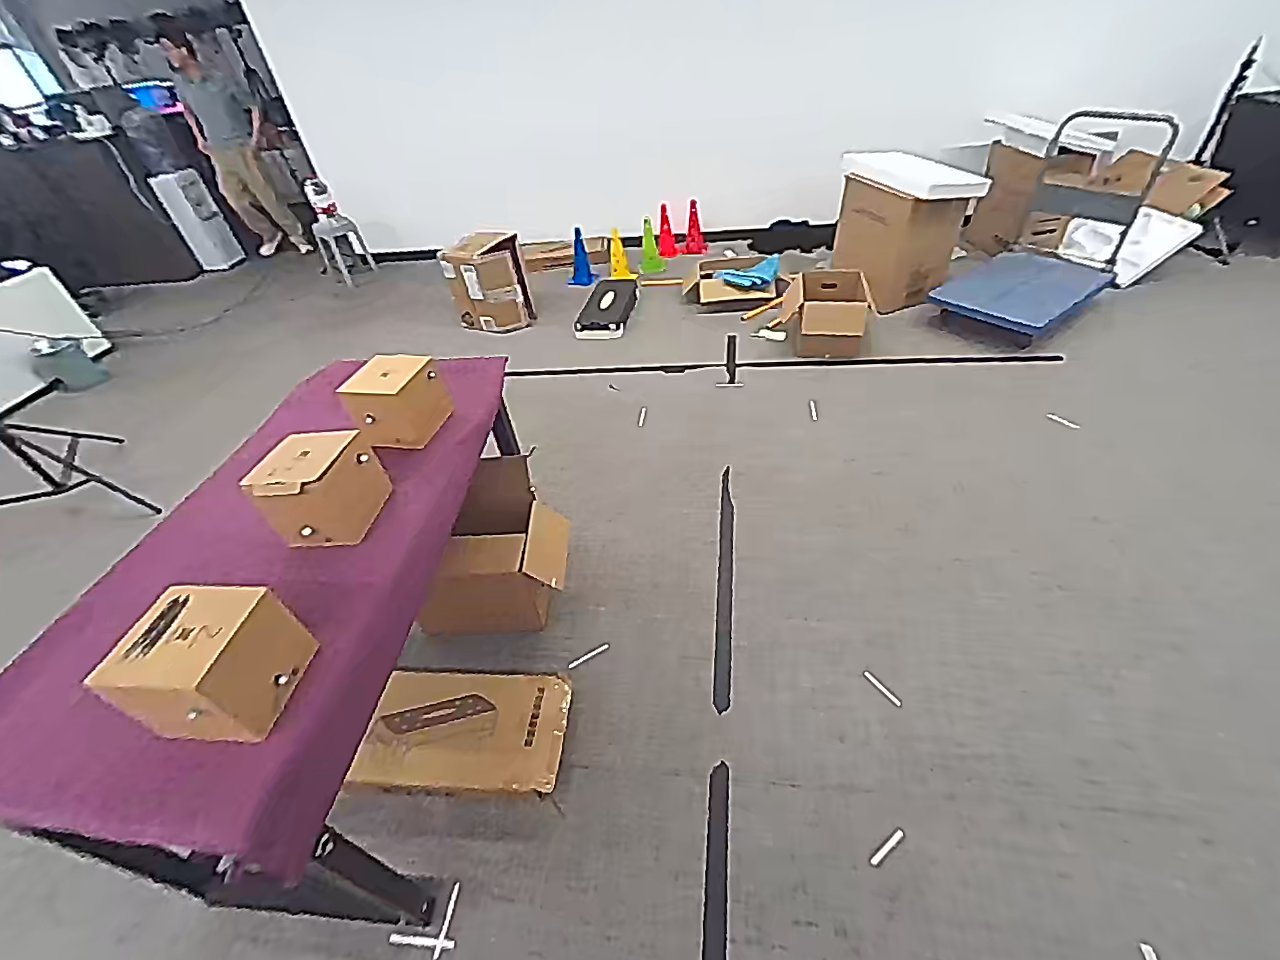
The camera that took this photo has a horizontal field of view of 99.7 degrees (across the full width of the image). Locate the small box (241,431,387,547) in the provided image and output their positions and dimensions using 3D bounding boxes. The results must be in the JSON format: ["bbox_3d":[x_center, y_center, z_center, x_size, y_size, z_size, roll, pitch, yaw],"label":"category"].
[{"bbox_3d":[-0.657,0.019,1.121,0.168,0.176,0.179,-3,42,9],"label":"small box"}]

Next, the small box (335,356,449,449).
[{"bbox_3d":[-0.607,-0.194,1.353,0.168,0.176,0.179,4,42,12],"label":"small box"}]
